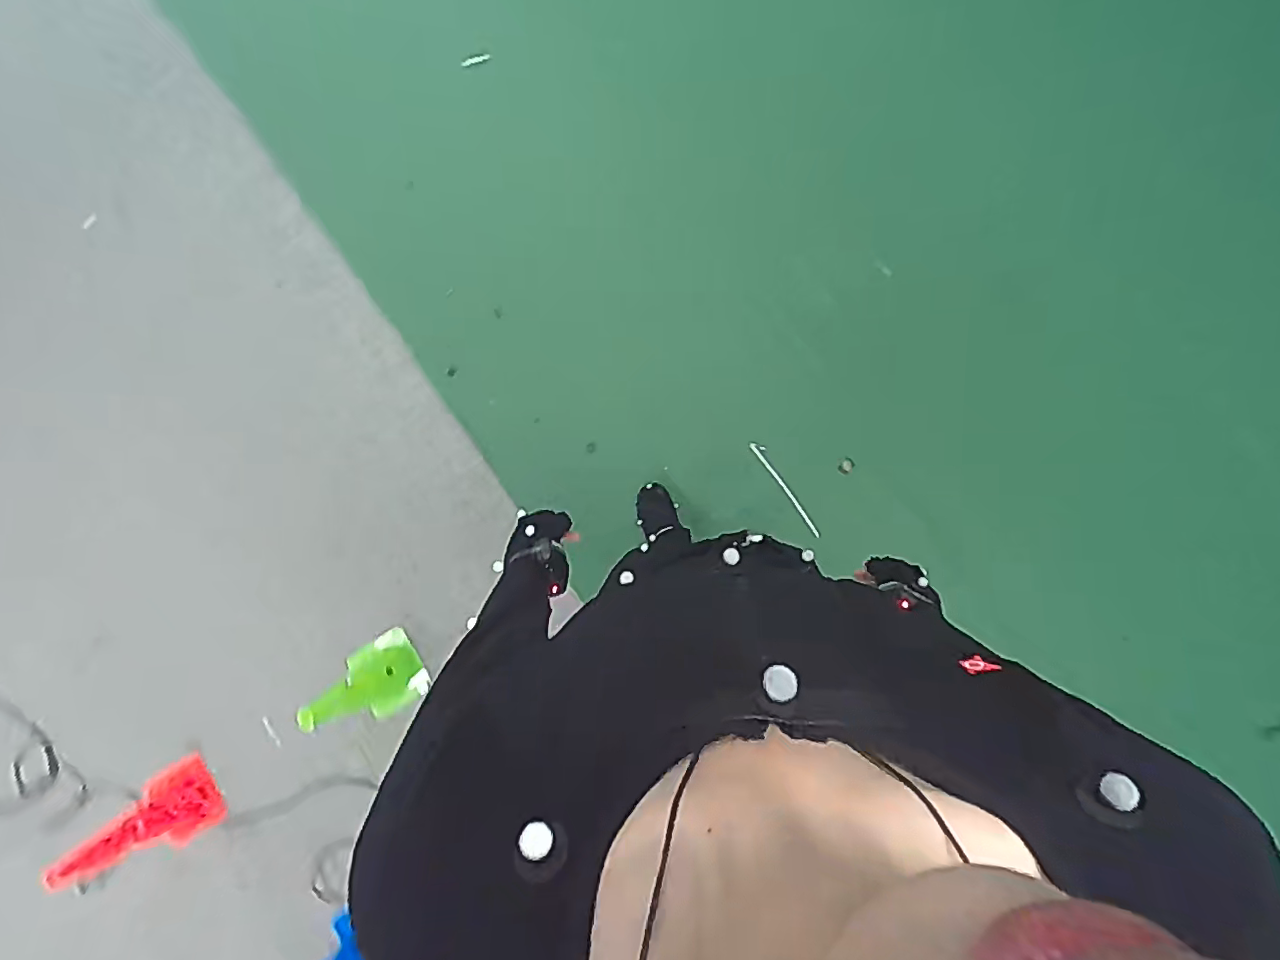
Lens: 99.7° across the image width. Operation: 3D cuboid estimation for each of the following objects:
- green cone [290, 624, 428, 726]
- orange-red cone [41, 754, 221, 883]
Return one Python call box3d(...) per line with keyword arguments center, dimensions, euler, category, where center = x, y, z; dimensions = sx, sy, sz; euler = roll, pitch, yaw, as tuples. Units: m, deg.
box3d(center=(-0.751, 0.537, 1.397), dimensions=(0.202, 0.368, 0.200), euler=(-33, 85, 3), category="green cone")
box3d(center=(-1.369, 0.927, 1.434), dimensions=(0.199, 0.360, 0.198), euler=(-31, 86, 1), category="orange-red cone")
